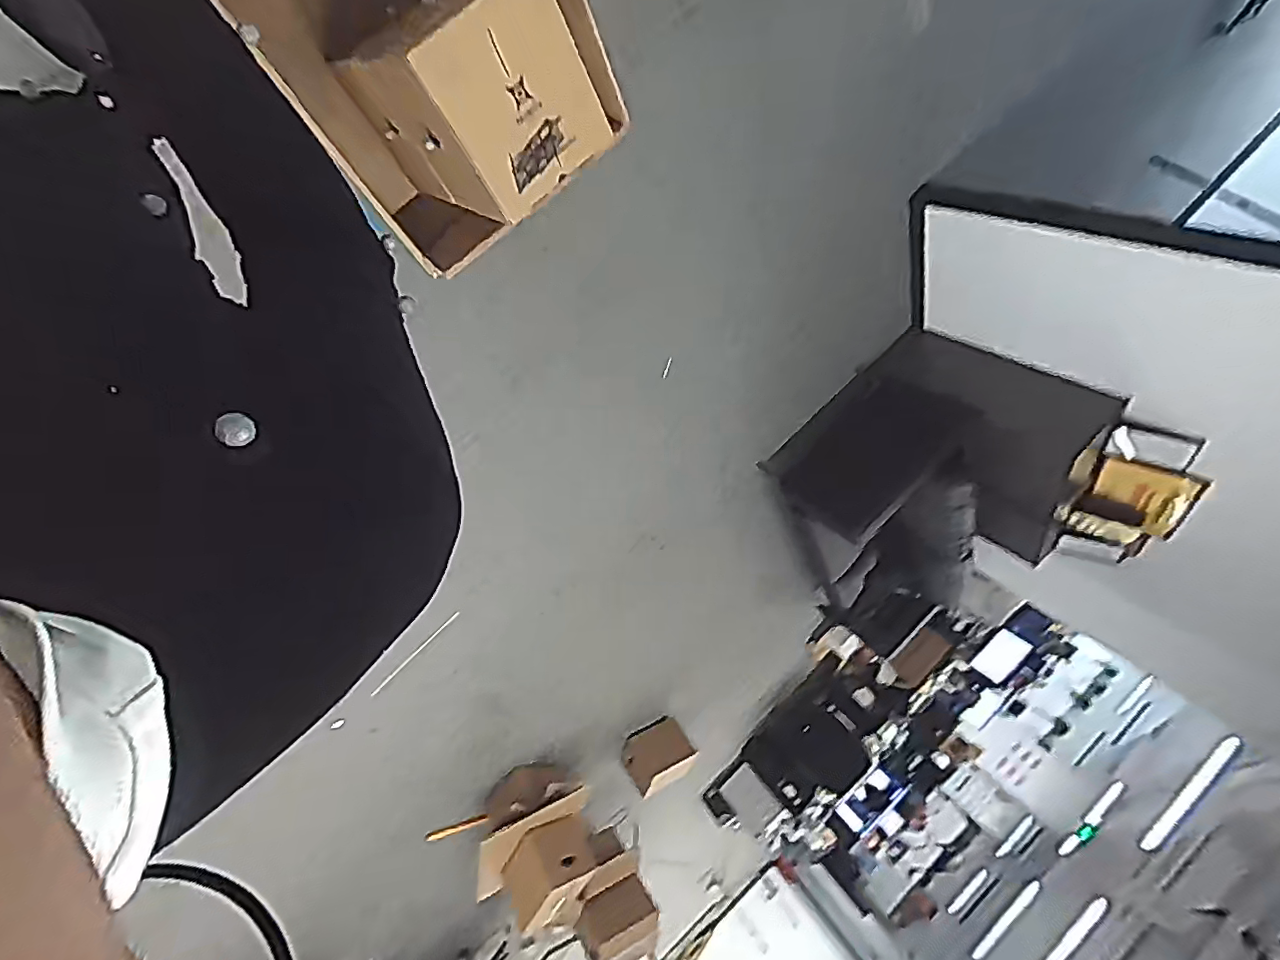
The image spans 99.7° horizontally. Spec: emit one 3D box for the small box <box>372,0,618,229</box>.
[{"bbox_3d":[-0.161,-0.422,0.609,0.168,0.176,0.179,-44,138,-8],"label":"small box"}]
